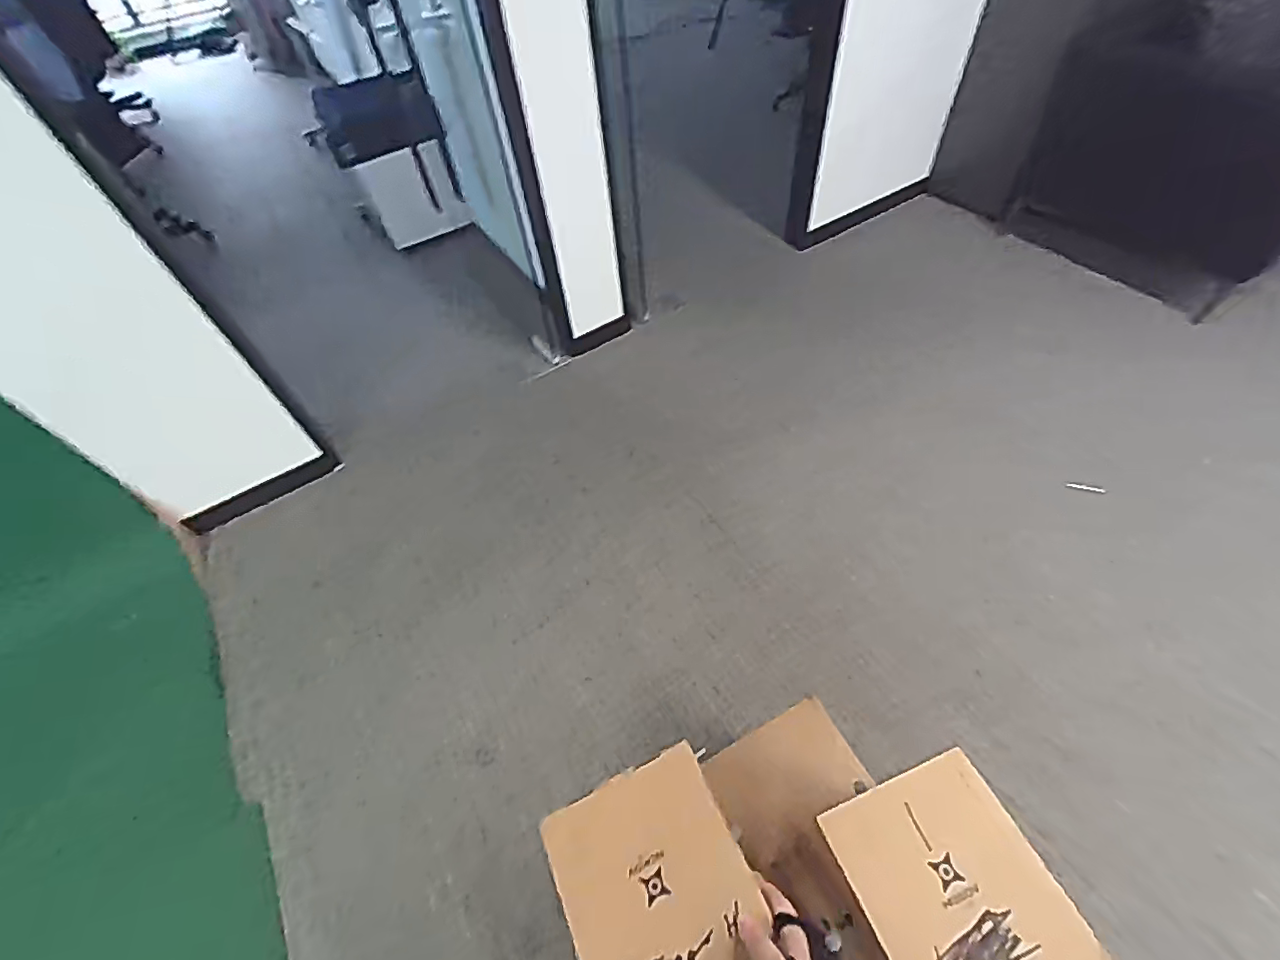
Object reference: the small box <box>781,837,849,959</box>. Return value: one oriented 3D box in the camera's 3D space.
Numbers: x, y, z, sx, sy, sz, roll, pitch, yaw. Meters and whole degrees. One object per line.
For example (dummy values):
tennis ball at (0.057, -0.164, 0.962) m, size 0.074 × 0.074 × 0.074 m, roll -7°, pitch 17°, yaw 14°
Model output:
small box at (0.291, 0.503, 0.660) m, size 0.168 × 0.176 × 0.179 m, roll -24°, pitch 52°, yaw -11°

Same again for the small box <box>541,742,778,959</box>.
small box at (0.017, 0.408, 0.554) m, size 0.168 × 0.176 × 0.179 m, roll -24°, pitch 53°, yaw -10°

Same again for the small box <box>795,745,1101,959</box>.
small box at (0.274, 0.399, 0.533) m, size 0.168 × 0.176 × 0.179 m, roll -20°, pitch 51°, yaw -10°
